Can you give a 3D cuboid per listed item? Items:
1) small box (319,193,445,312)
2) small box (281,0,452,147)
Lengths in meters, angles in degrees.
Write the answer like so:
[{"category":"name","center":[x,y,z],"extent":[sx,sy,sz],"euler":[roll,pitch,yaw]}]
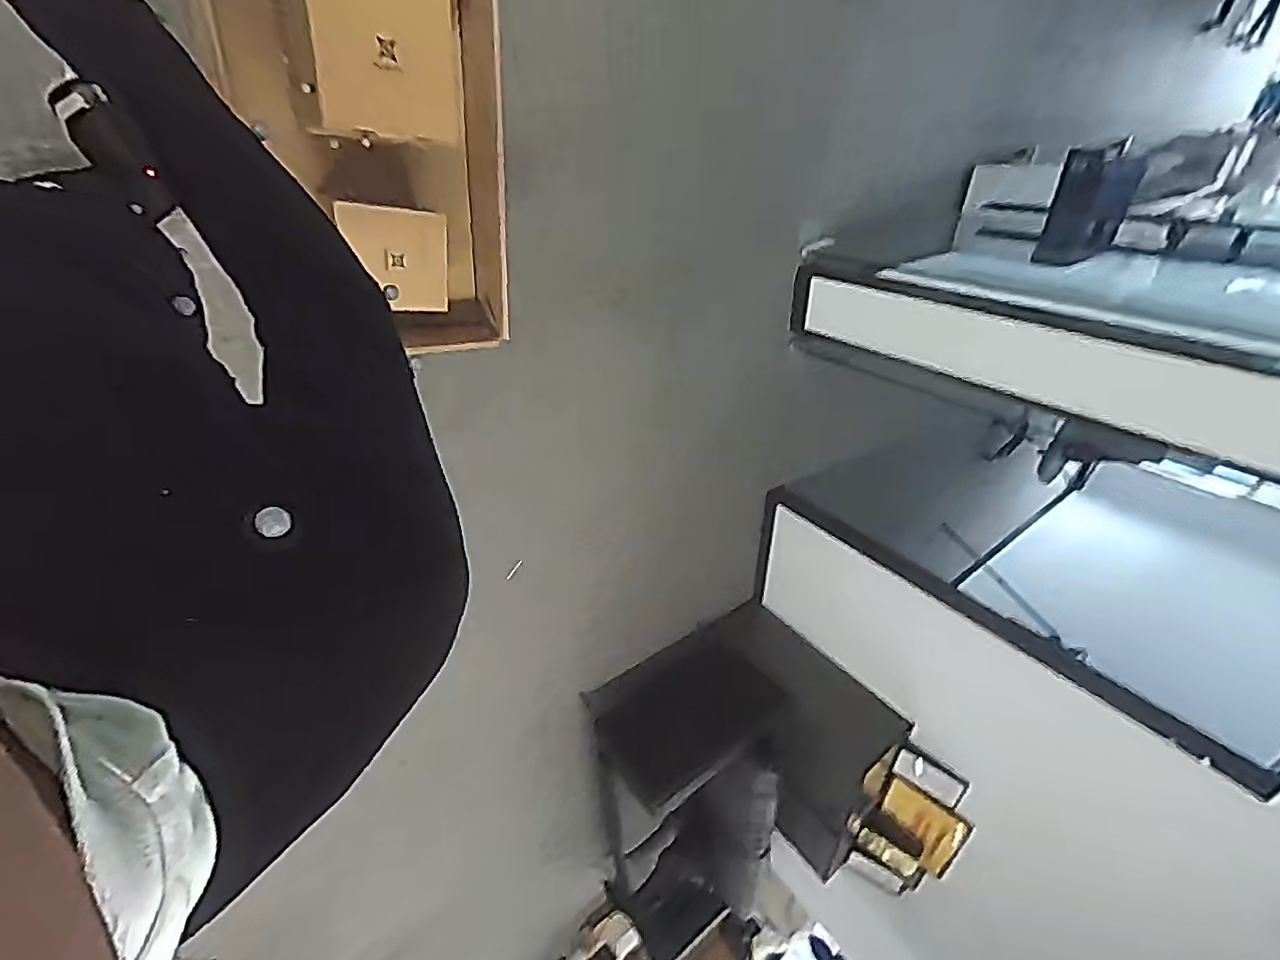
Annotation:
[{"category":"small box","center":[-0.463,-0.407,0.968],"extent":[0.179,0.176,0.168],"euler":[-10,123,-35]},{"category":"small box","center":[-0.362,-0.559,0.719],"extent":[0.168,0.176,0.179],"euler":[-14,126,-33]}]
